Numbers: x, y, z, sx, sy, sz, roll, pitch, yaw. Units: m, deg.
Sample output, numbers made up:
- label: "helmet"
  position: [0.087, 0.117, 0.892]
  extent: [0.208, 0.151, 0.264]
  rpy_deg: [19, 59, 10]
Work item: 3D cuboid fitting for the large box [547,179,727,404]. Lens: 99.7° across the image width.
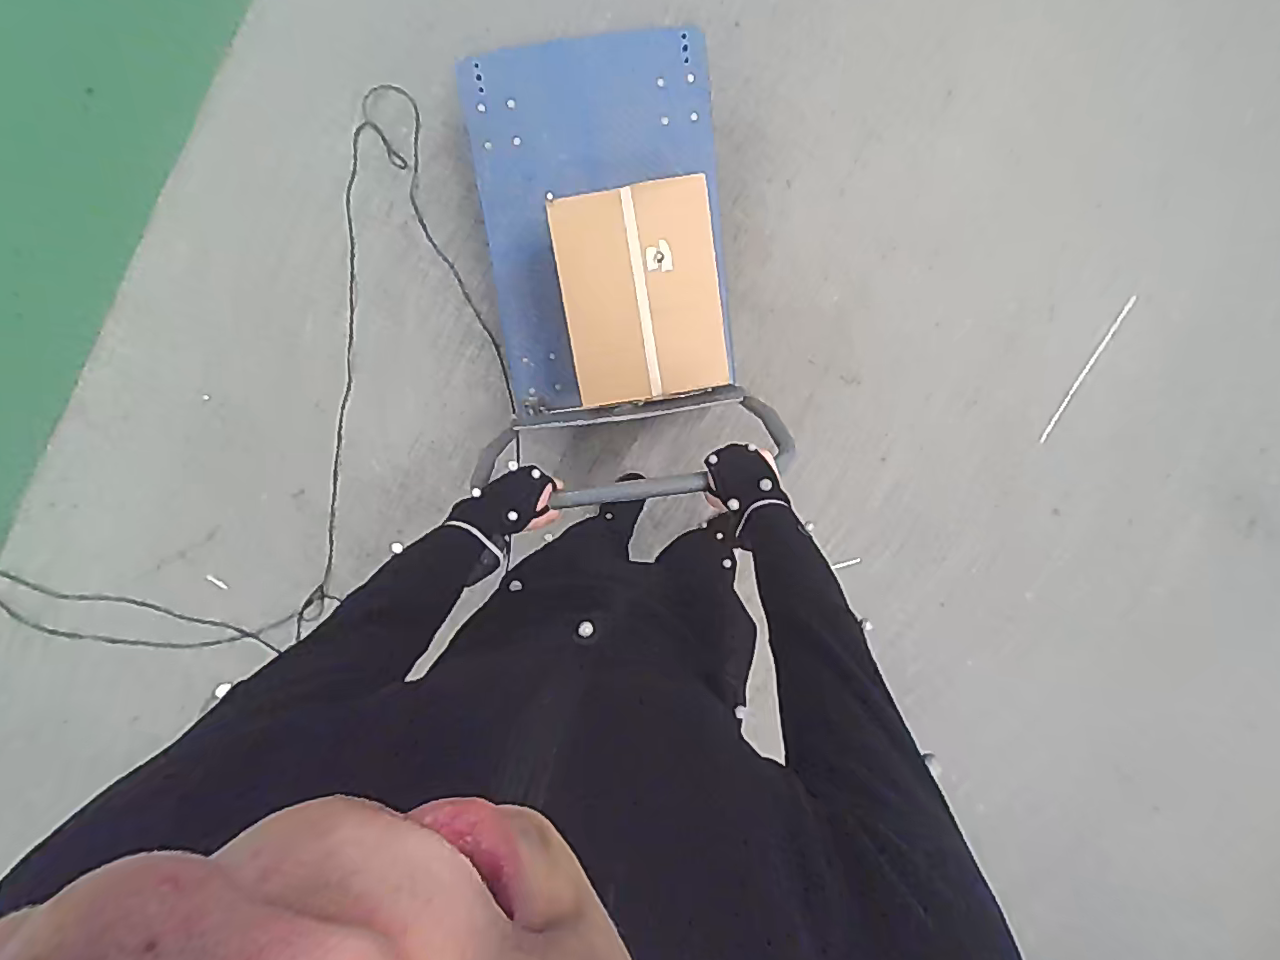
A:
- label: "large box"
  position: [0.000, -0.405, 1.244]
  extent: [0.320, 0.320, 0.408]
  rpy_deg: [-9, 102, 1]
